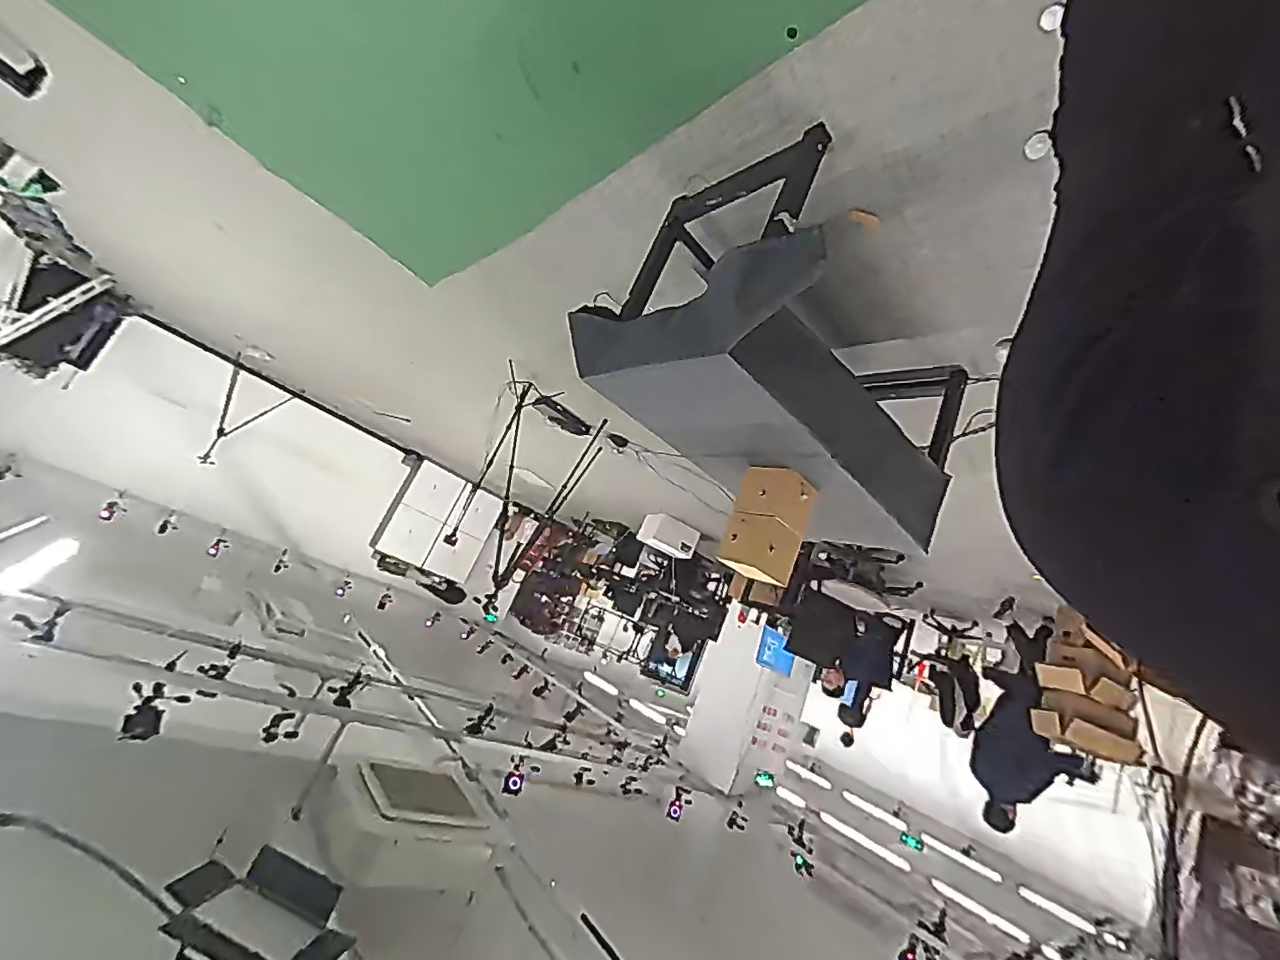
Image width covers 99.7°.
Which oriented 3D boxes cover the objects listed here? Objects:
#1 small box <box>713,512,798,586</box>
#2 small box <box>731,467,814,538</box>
[{"bbox_3d":[0.368,0.213,1.704,0.179,0.176,0.168,33,163,-34],"label":"small box"},{"bbox_3d":[0.431,0.067,1.740,0.168,0.176,0.179,34,162,-36],"label":"small box"}]
